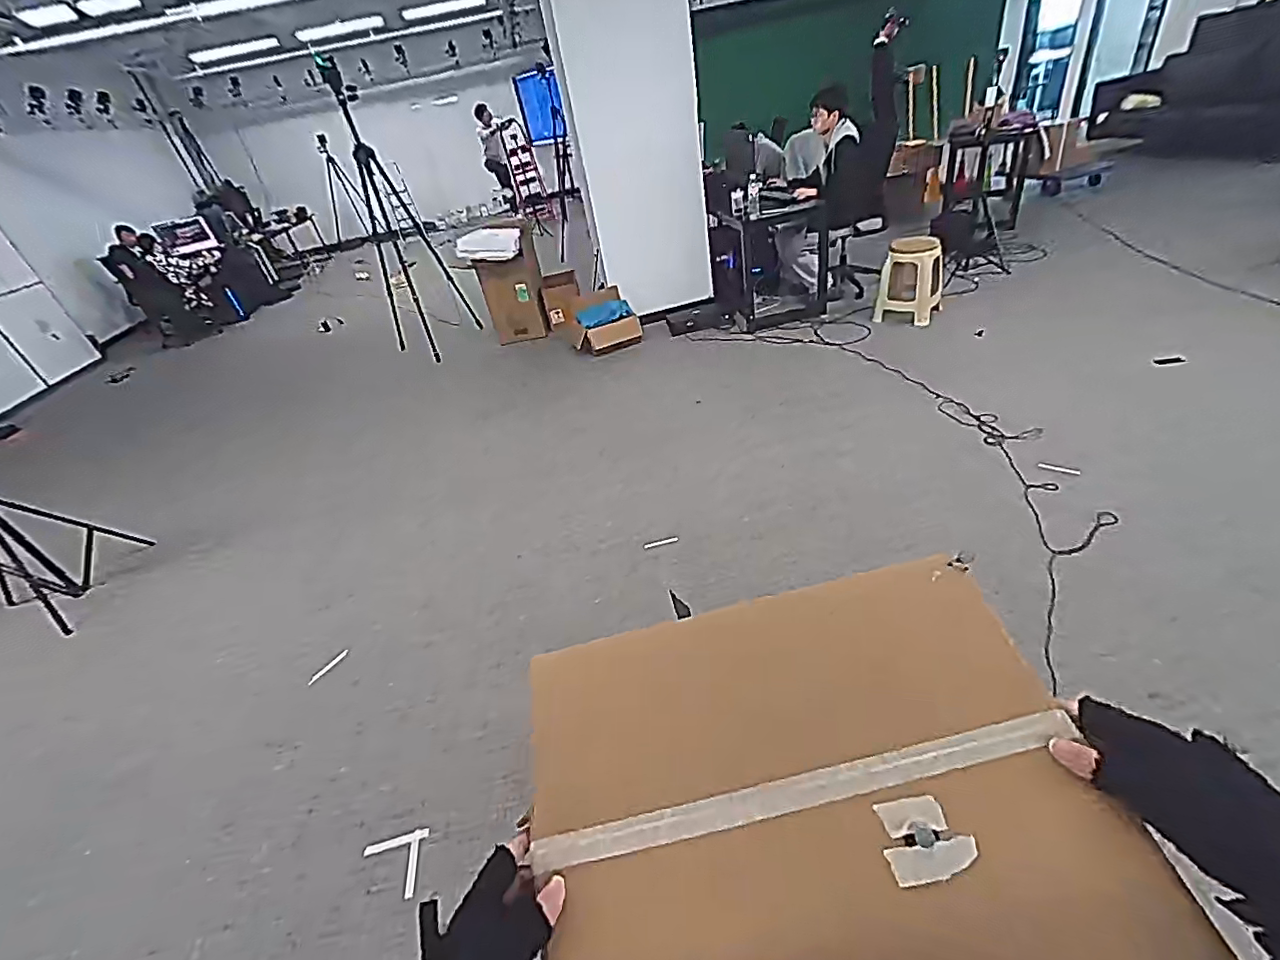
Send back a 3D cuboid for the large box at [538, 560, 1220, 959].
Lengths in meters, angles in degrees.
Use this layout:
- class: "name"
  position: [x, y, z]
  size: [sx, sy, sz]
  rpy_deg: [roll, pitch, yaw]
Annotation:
- class: "large box"
  position: [0.148, 0.333, 0.520]
  size: [0.408, 0.320, 0.320]
  rpy_deg: [-15, 48, 0]
